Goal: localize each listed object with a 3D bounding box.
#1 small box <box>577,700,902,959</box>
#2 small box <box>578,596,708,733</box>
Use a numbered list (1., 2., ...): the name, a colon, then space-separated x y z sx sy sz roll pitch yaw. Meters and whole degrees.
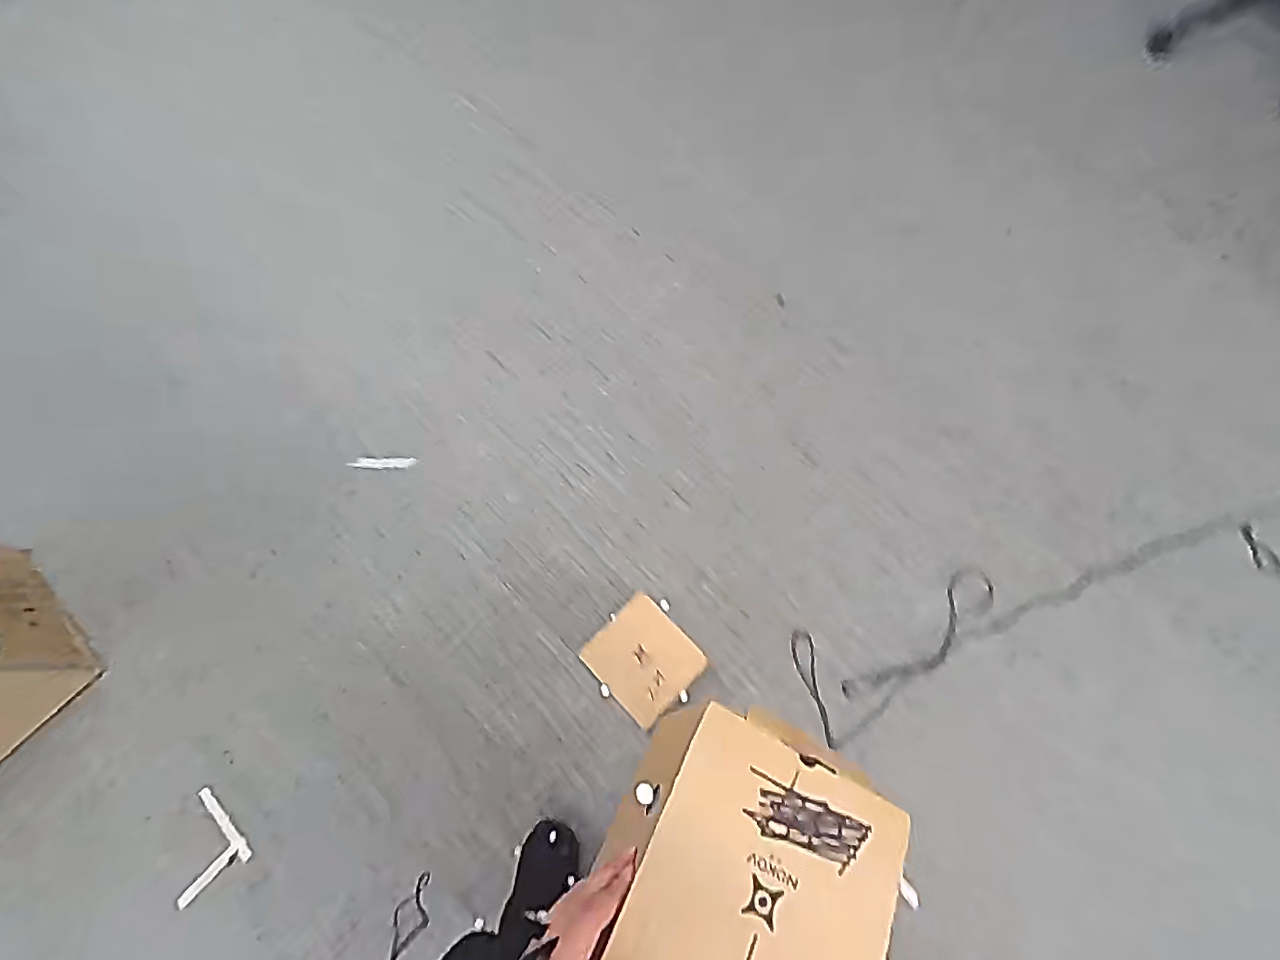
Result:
1. small box: 0.062 0.298 0.413 0.168 0.176 0.179 28 61 4
2. small box: 0.010 0.349 1.031 0.168 0.176 0.179 -43 73 -9
